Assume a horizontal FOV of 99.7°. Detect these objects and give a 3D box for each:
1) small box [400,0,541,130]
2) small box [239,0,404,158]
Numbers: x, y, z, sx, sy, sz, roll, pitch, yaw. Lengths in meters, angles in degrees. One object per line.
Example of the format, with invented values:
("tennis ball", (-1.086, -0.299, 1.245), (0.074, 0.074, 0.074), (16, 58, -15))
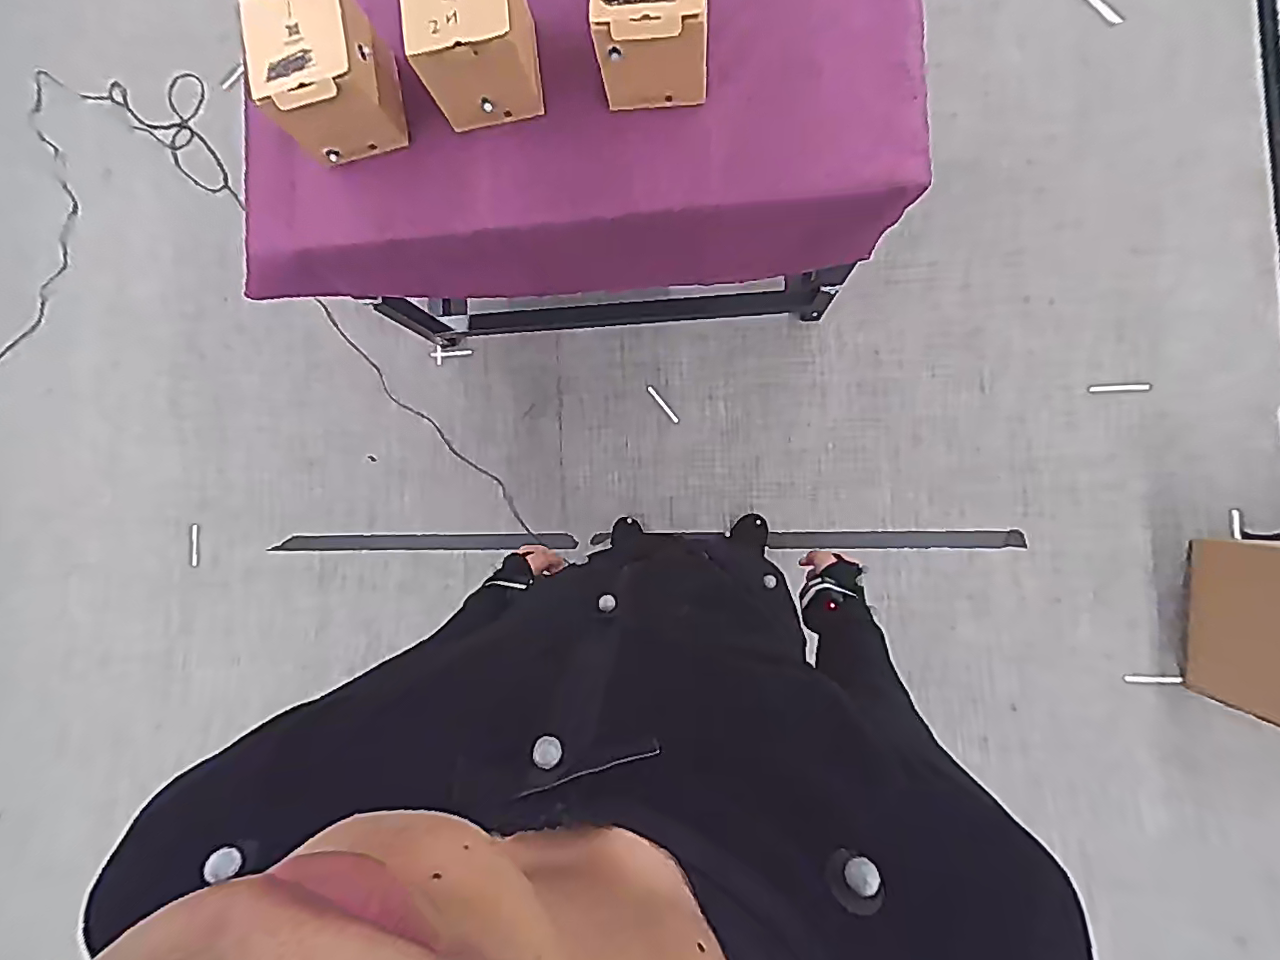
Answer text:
("small box", (-0.270, -0.720, 0.881), (0.168, 0.176, 0.179), (-7, 88, 7))
("small box", (-0.521, -0.676, 0.909), (0.168, 0.176, 0.179), (-11, 86, 6))
